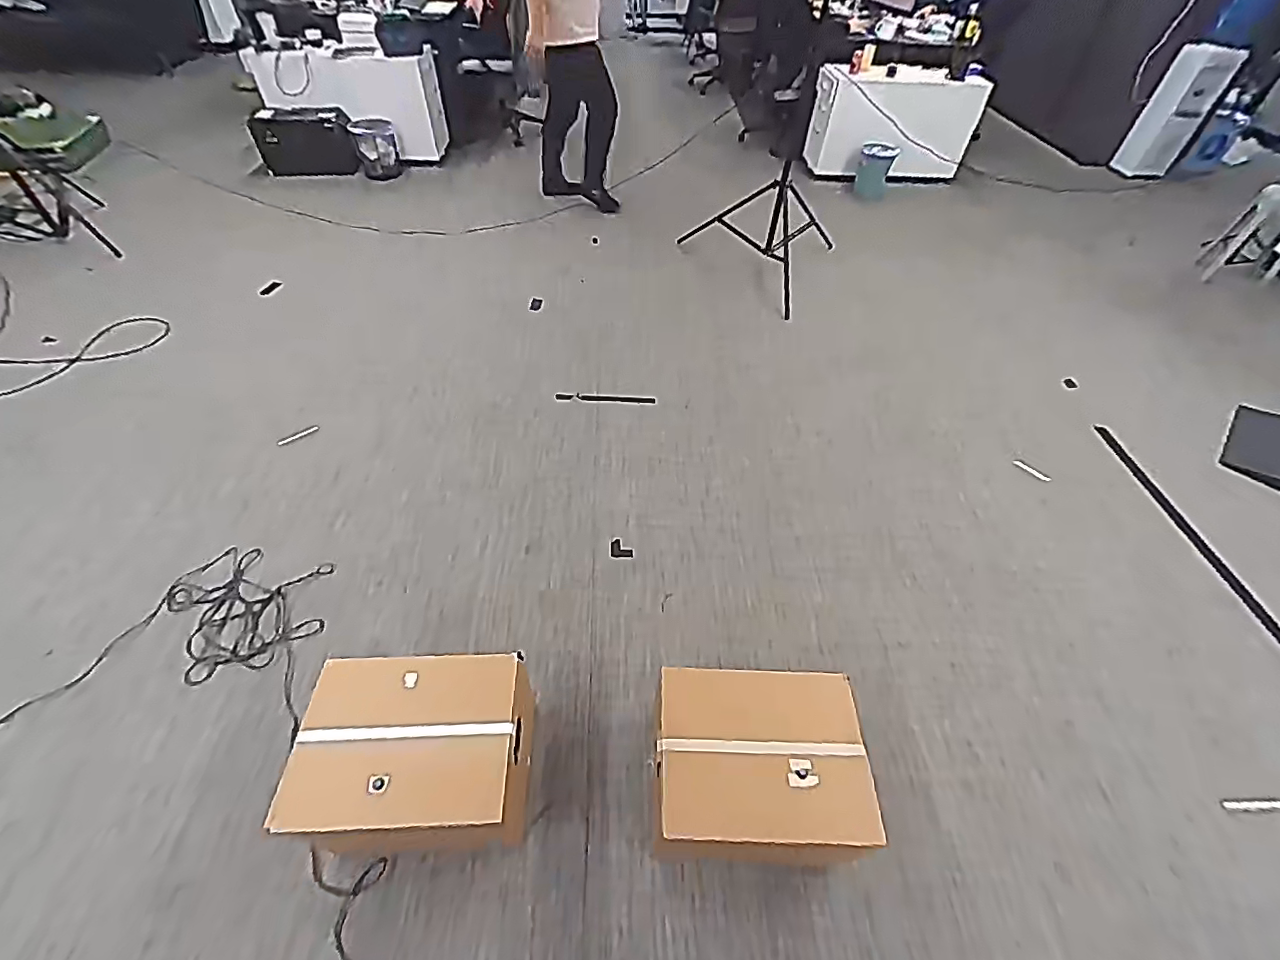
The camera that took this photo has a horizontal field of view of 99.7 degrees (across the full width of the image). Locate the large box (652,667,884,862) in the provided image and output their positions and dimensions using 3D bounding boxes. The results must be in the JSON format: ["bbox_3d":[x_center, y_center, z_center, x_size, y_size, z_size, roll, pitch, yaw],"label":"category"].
[{"bbox_3d":[0.238,0.625,1.179,0.408,0.320,0.320,3,49,-2],"label":"large box"}]
